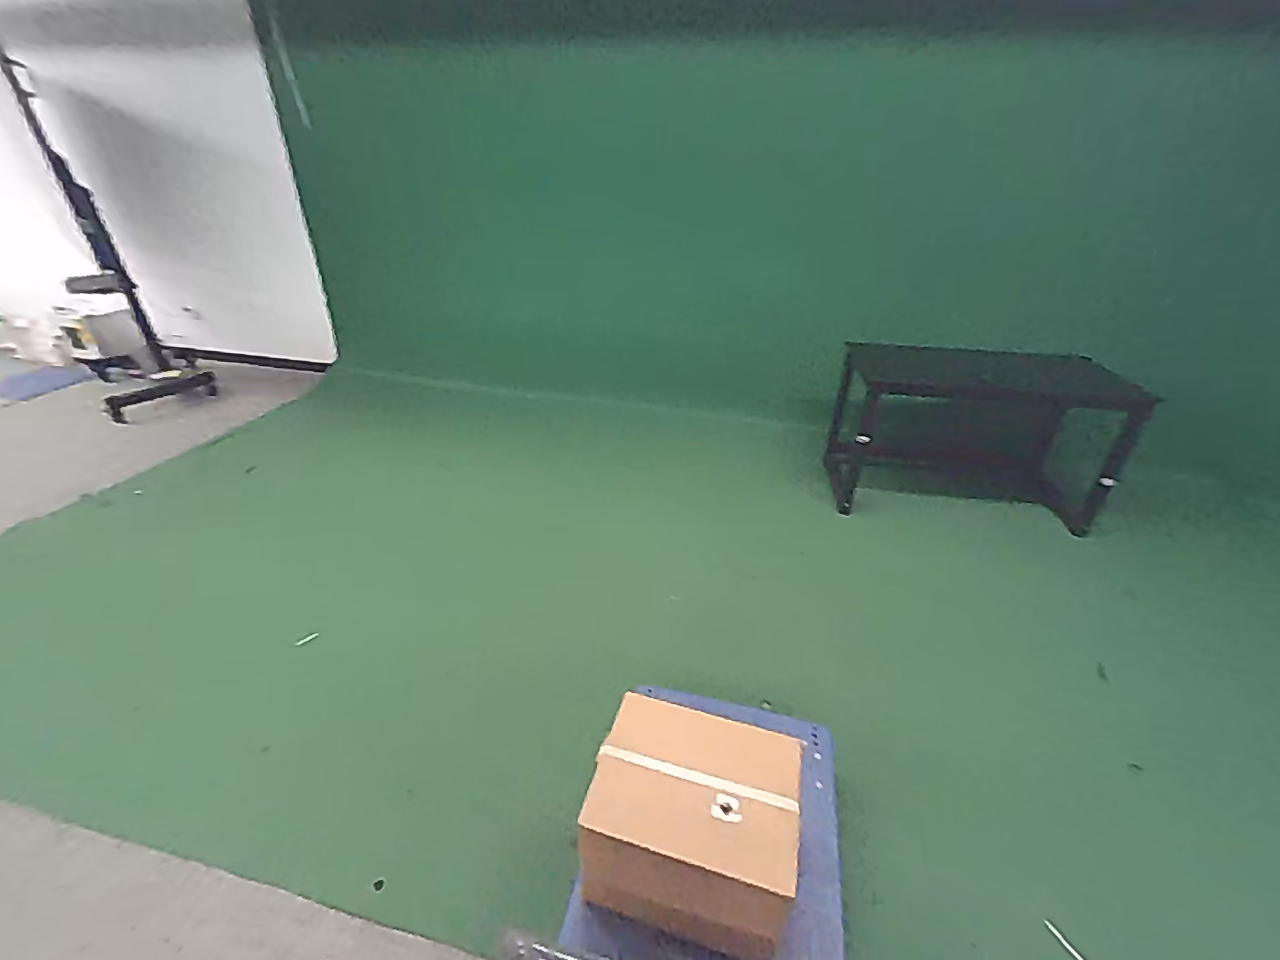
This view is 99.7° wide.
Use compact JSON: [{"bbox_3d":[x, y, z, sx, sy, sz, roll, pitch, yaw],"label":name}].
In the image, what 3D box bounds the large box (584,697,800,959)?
[{"bbox_3d":[0.113,0.746,1.185,0.408,0.320,0.320,11,32,13],"label":"large box"}]
